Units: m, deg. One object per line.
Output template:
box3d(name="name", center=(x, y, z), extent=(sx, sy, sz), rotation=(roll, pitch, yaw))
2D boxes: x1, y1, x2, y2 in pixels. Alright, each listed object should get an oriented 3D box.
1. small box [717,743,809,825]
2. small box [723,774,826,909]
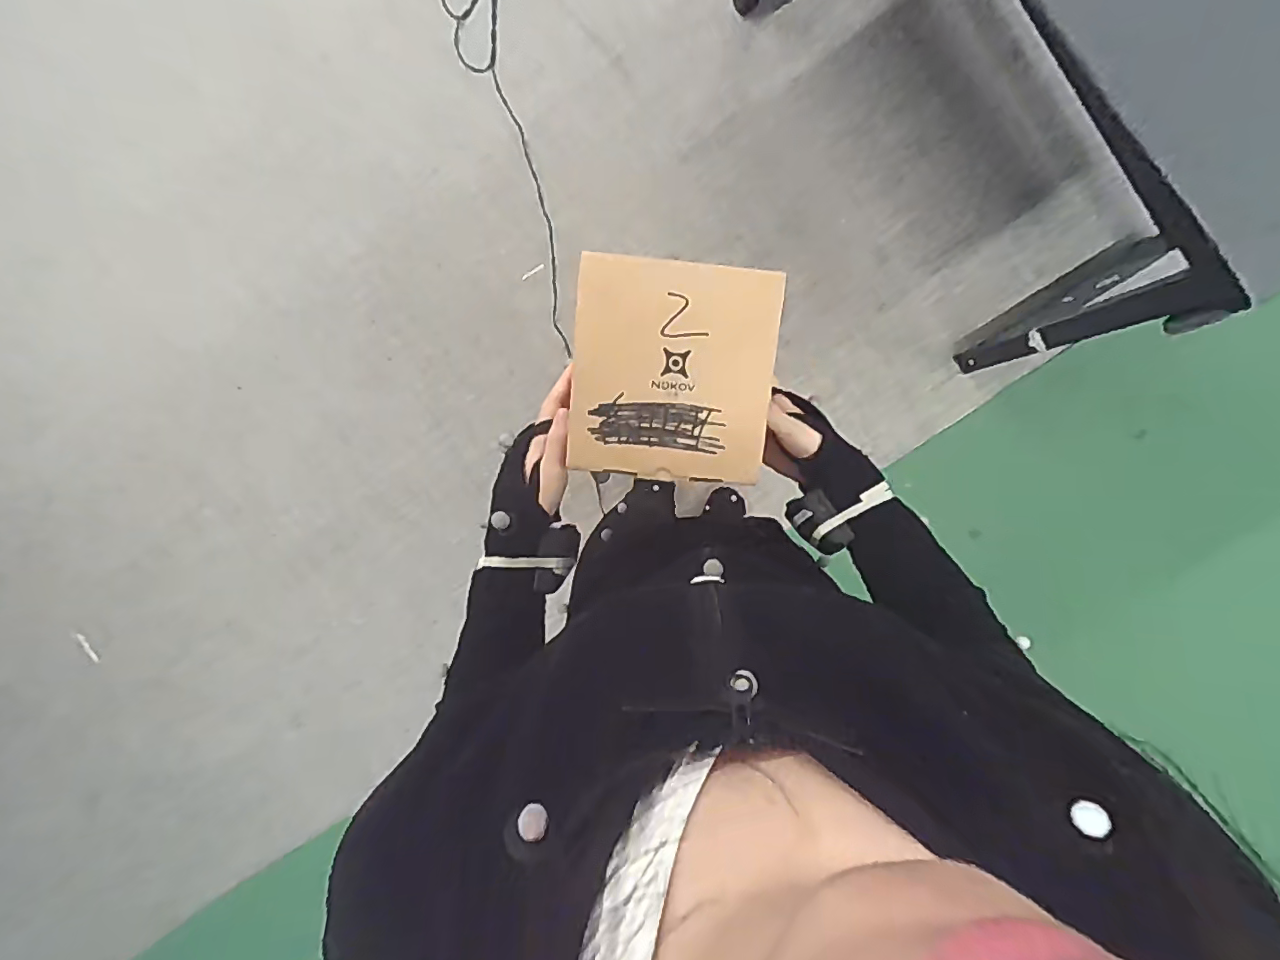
box3d(name="small box", center=(0.323, 0.846, 1.458), extent=(0.168, 0.176, 0.179), rotation=(-34, 91, 5))
box3d(name="small box", center=(0.313, 0.854, 1.293), extent=(0.168, 0.176, 0.179), rotation=(-31, 91, 5))
